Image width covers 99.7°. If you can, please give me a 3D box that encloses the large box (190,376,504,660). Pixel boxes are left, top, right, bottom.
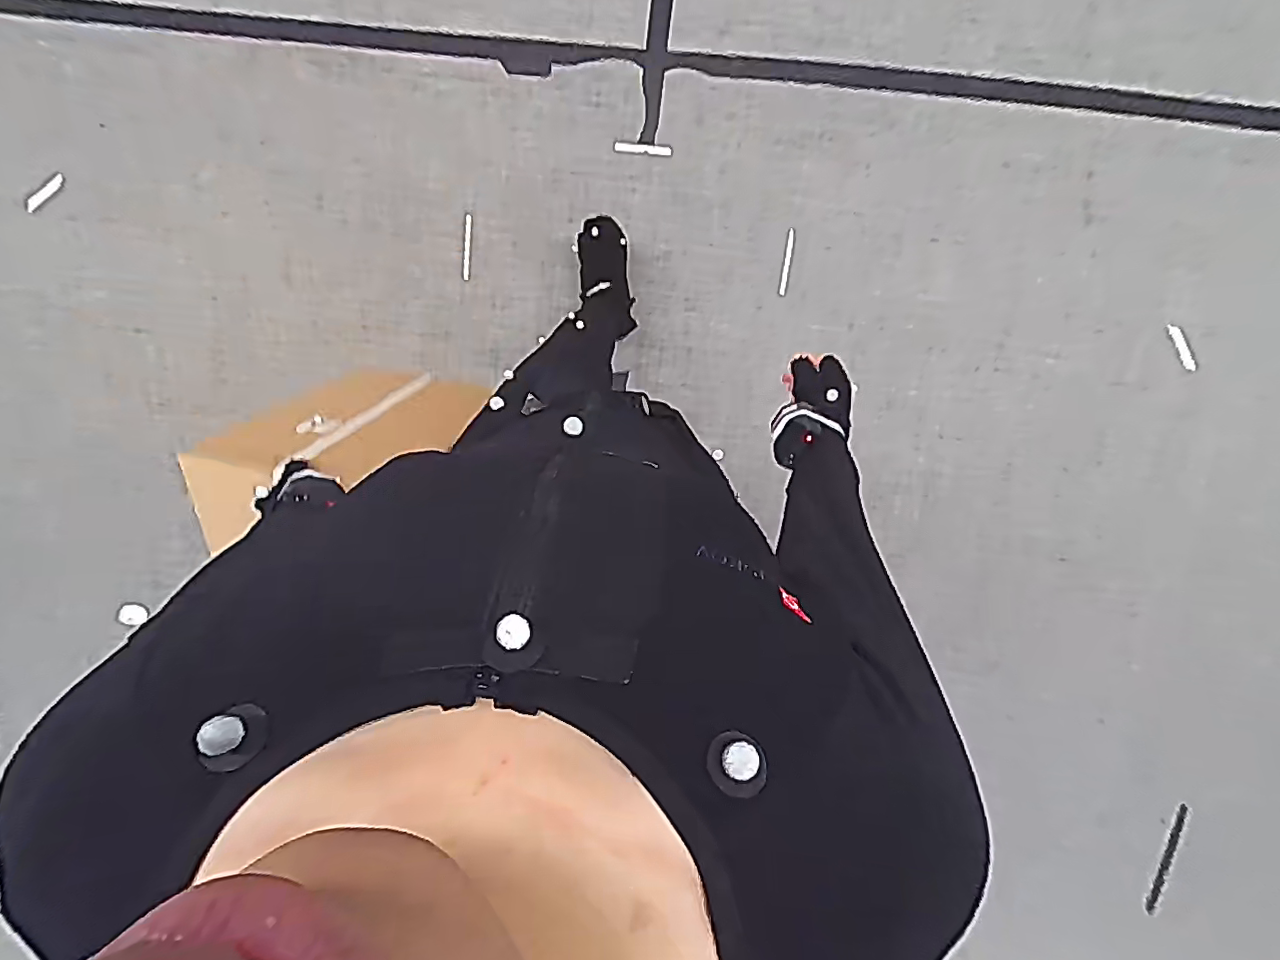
[{"bbox_3d":[-0.459,0.041,0.971,0.320,0.408,0.320,10,119,6],"label":"large box"}]
